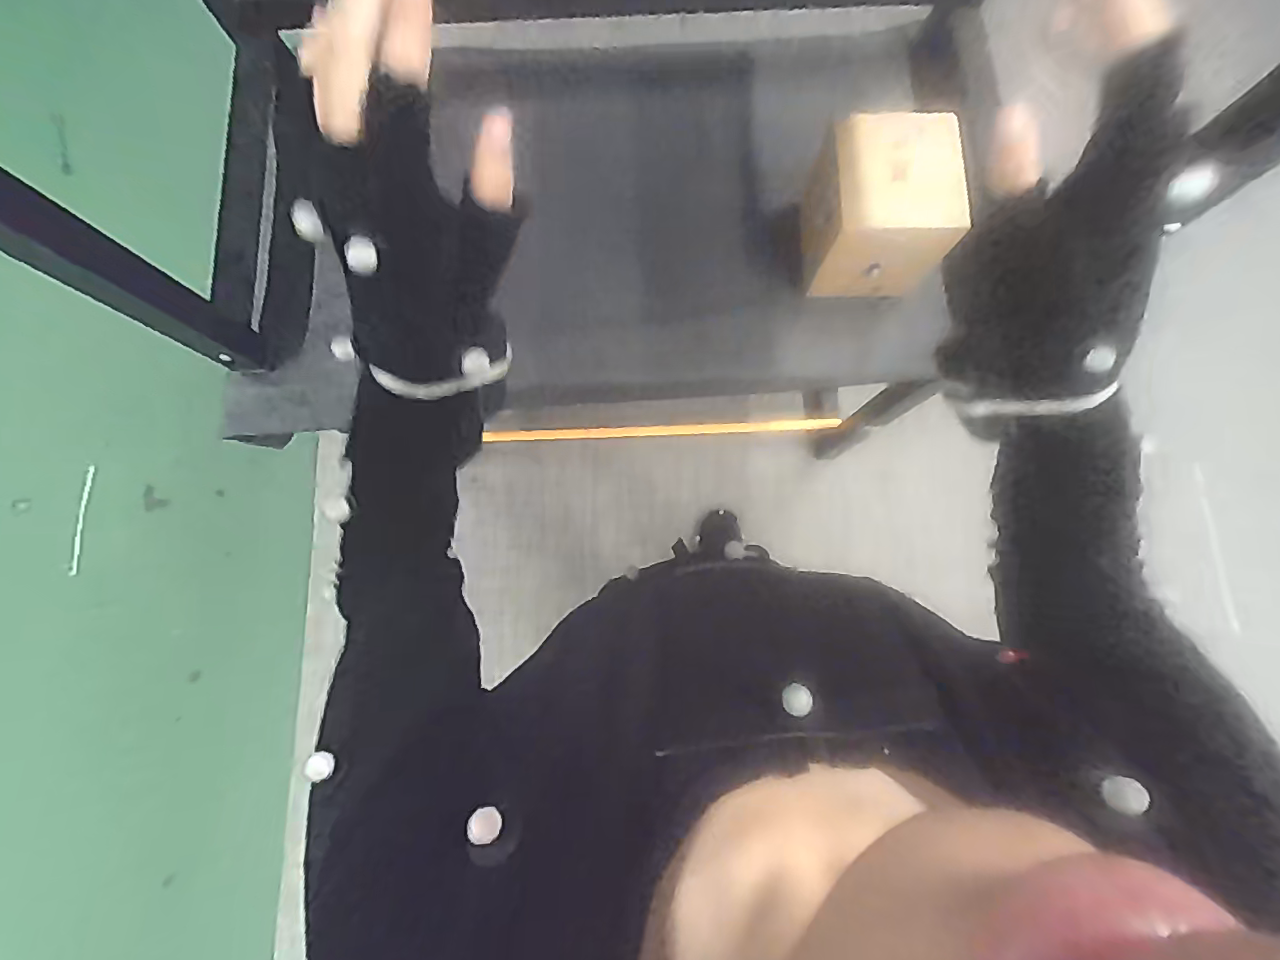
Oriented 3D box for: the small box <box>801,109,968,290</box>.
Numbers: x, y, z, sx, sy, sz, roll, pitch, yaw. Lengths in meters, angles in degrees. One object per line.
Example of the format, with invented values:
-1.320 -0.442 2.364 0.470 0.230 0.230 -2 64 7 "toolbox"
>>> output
0.339 -0.393 0.782 0.168 0.176 0.179 1 79 0 "small box"
